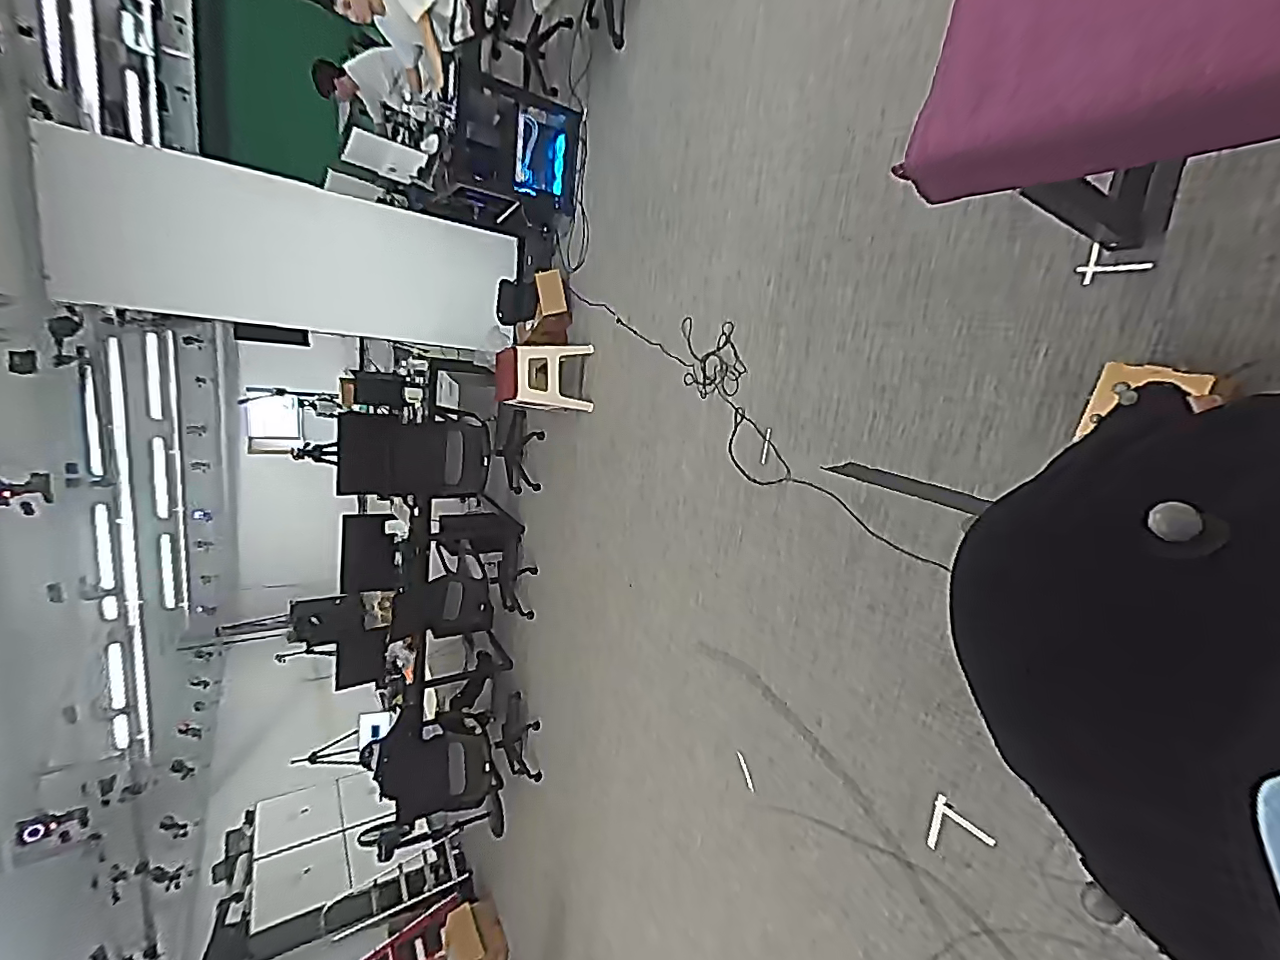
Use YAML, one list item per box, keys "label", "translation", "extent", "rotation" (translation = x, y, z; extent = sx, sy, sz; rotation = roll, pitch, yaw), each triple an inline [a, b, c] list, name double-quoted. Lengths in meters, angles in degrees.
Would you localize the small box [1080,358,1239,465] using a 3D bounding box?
- label: "small box"
  translation: [1.042, -0.137, 1.084]
  extent: [0.168, 0.176, 0.179]
  rotation: [33, 118, 51]
